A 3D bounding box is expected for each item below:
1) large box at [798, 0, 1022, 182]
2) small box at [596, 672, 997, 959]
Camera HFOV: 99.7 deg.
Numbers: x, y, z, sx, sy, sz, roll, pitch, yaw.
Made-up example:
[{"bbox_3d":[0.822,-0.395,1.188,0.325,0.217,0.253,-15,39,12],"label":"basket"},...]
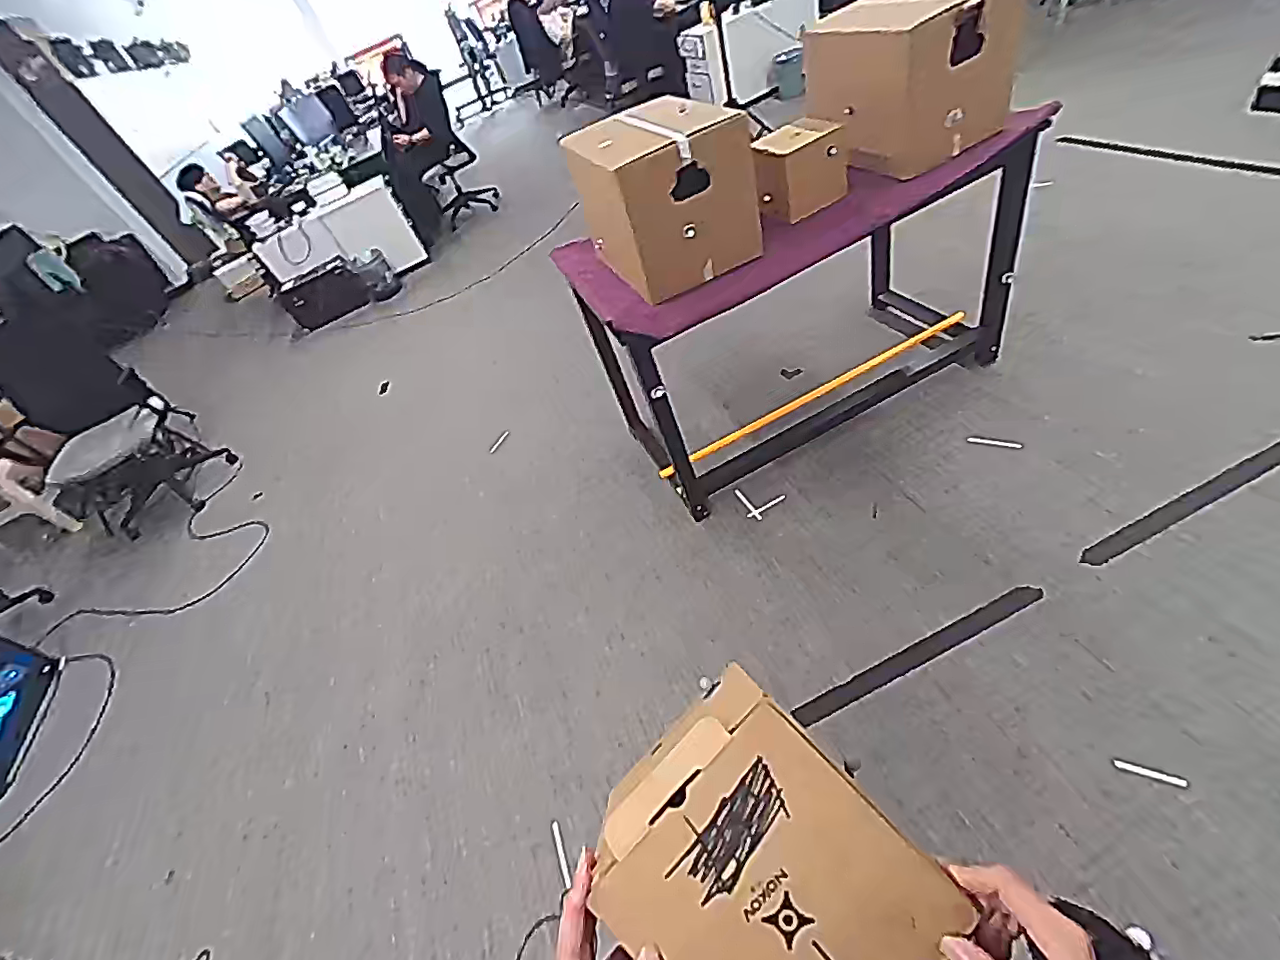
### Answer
[{"bbox_3d":[0.667,-1.011,1.384,0.320,0.320,0.408,-28,43,-5],"label":"large box"},{"bbox_3d":[0.093,0.262,0.394,0.179,0.176,0.168,44,84,10],"label":"small box"}]
